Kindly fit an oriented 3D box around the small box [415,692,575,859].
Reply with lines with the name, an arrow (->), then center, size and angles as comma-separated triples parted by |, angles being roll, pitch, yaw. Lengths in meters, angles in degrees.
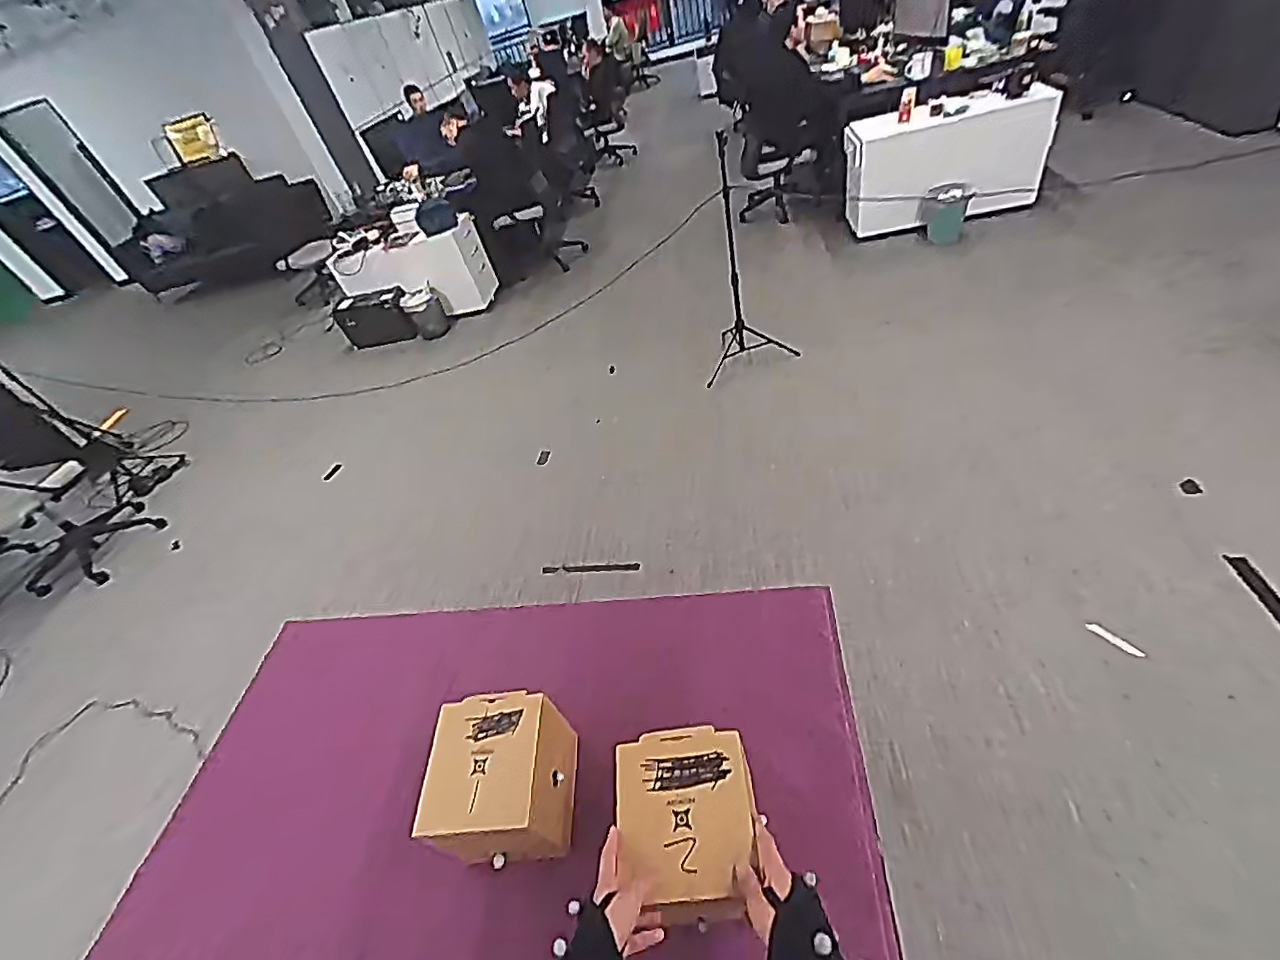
small box -> -0.202, 0.446, 0.815 | 0.168, 0.176, 0.179 | -10, 44, 9
